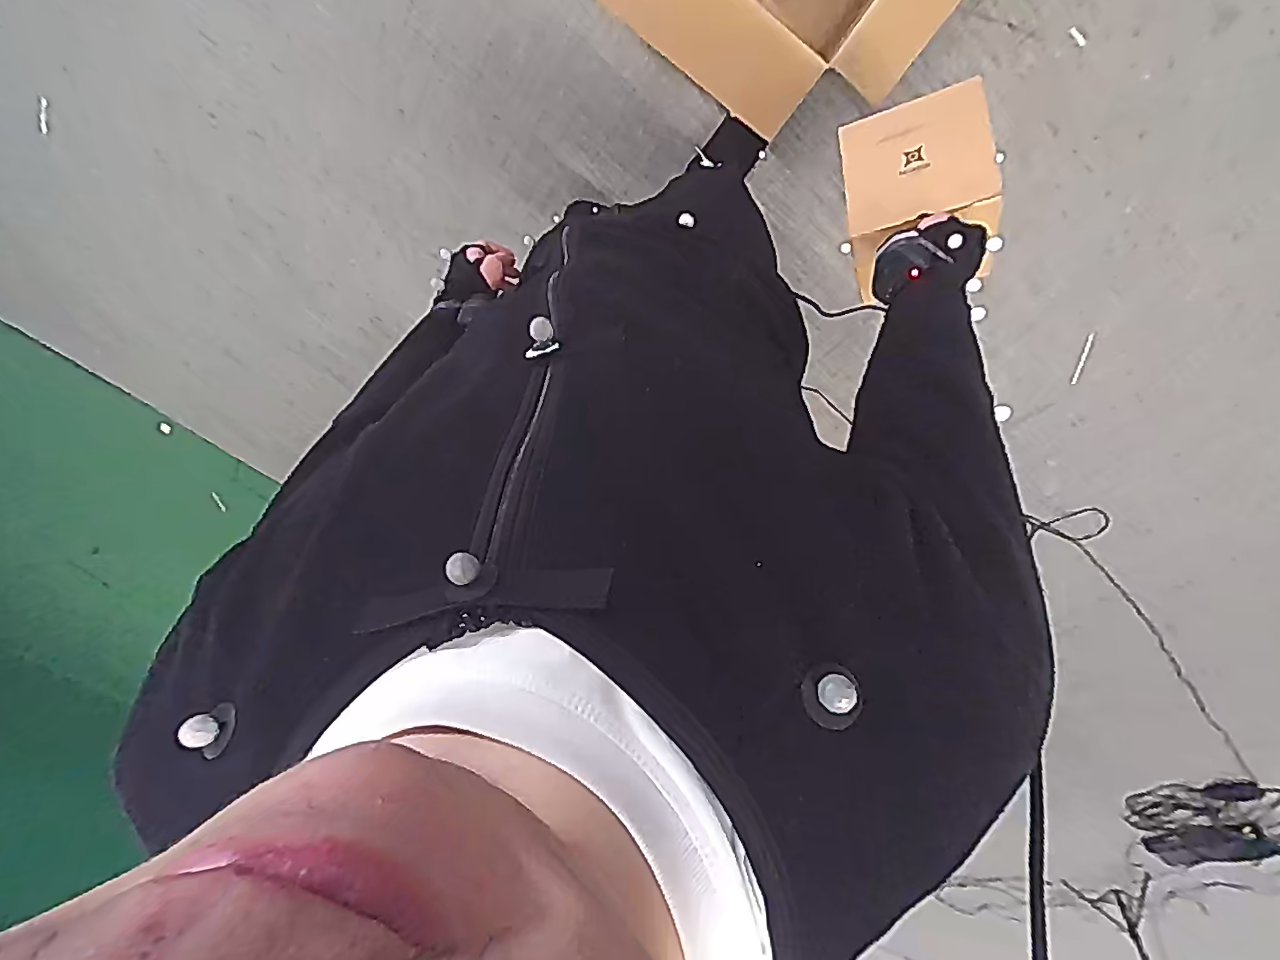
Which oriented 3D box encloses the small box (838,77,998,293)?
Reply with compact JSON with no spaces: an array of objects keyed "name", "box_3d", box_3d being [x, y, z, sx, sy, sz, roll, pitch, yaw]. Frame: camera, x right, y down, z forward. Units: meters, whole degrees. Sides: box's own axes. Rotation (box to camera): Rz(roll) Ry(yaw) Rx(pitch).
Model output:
[{"name":"small box","box_3d":[0.369,-0.376,0.732,0.168,0.179,0.176,-6,164,25]}]
